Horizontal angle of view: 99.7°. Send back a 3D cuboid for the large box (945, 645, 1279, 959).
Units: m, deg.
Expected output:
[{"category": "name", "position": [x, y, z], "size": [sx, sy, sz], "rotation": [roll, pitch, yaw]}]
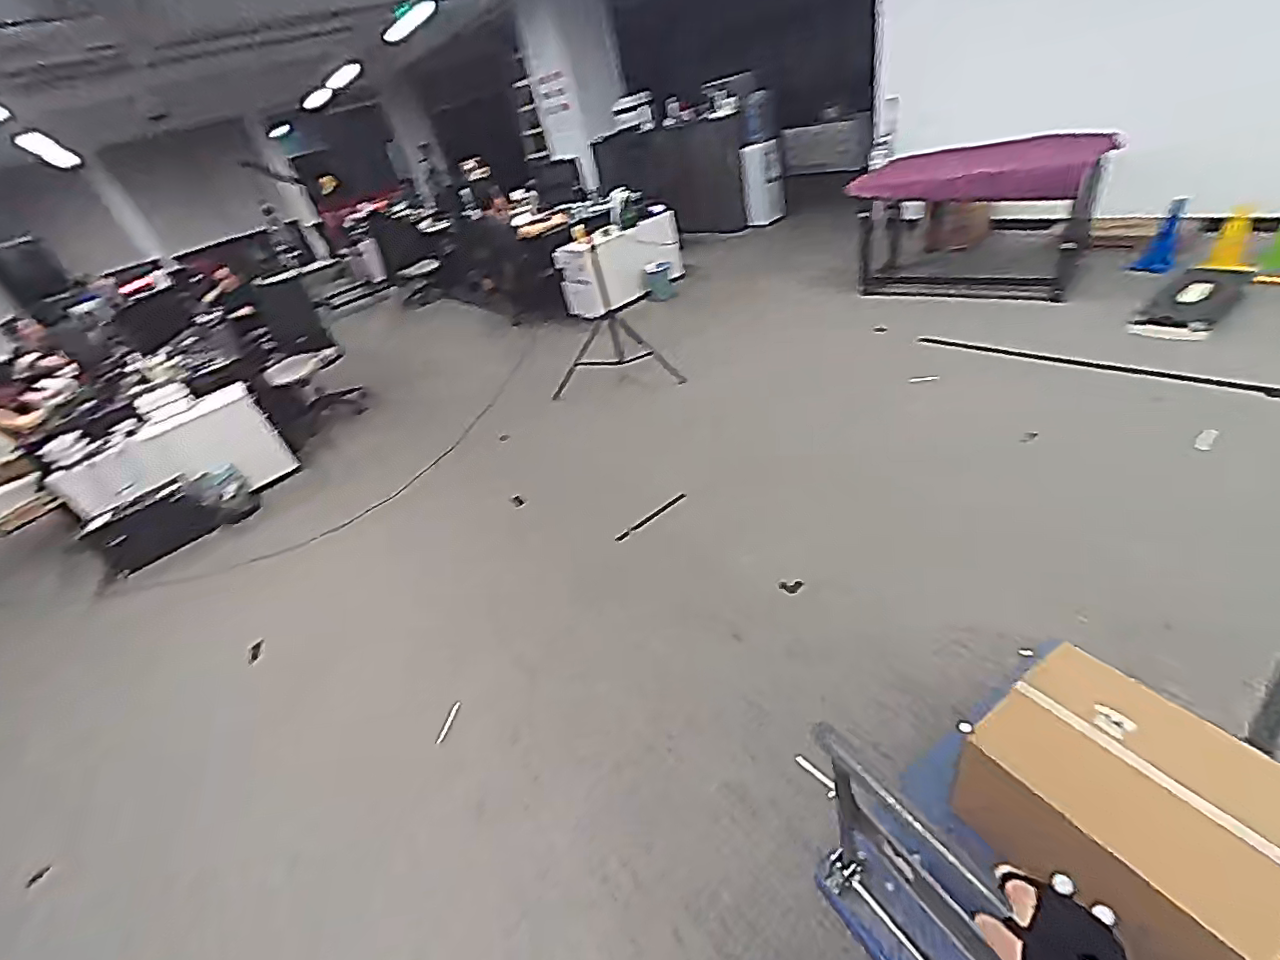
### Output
[{"category": "large box", "position": [0.845, 0.599, 0.984], "size": [0.320, 0.320, 0.408], "rotation": [-29, 36, -19]}]
